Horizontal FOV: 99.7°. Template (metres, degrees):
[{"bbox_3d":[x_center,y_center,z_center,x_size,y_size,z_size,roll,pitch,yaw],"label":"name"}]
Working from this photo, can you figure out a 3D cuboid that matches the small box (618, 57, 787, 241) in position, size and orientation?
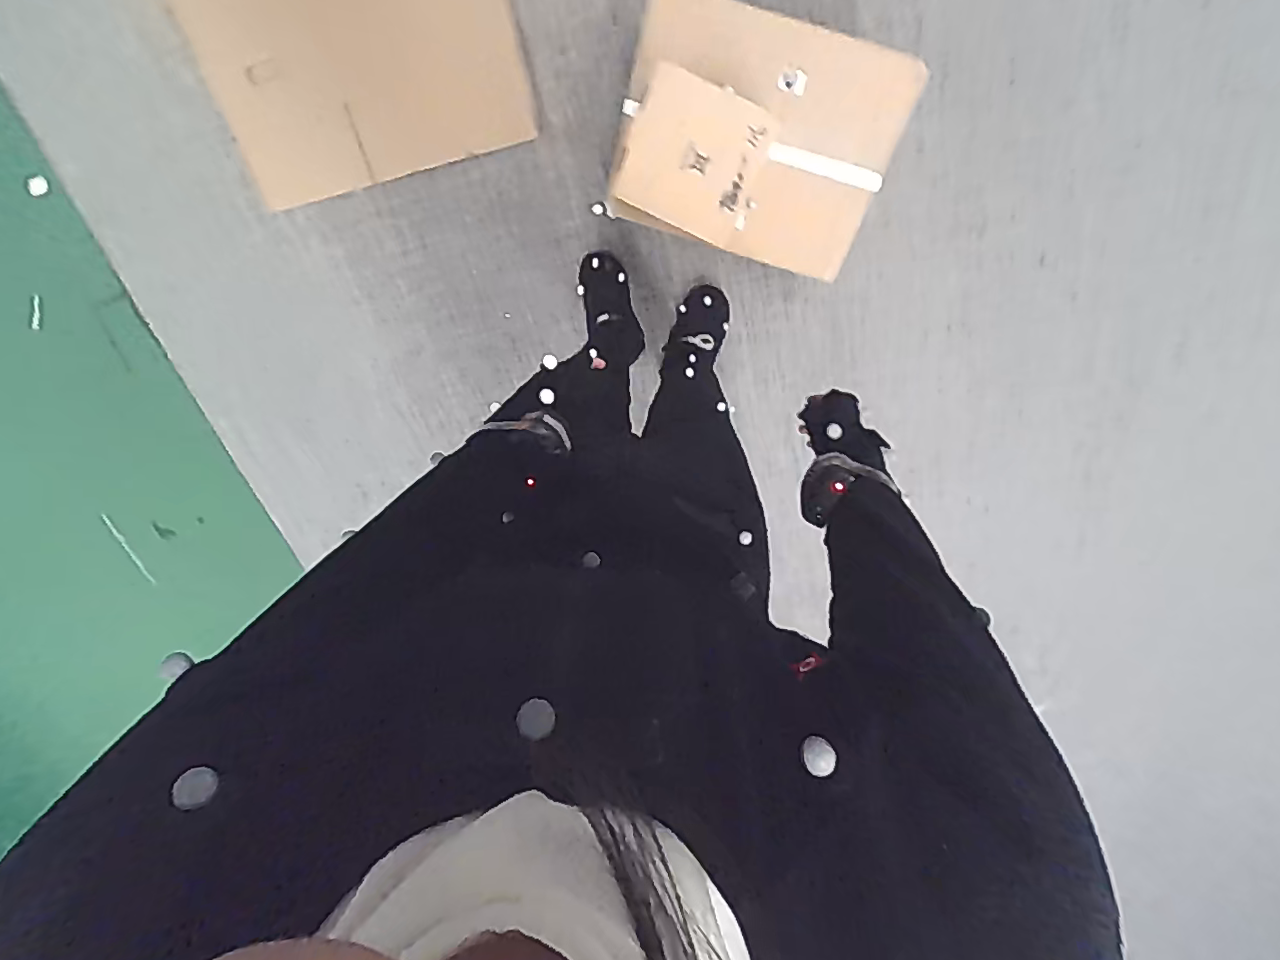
[{"bbox_3d":[0.088,-0.463,0.781,0.179,0.176,0.168,22,119,-3],"label":"small box"}]
